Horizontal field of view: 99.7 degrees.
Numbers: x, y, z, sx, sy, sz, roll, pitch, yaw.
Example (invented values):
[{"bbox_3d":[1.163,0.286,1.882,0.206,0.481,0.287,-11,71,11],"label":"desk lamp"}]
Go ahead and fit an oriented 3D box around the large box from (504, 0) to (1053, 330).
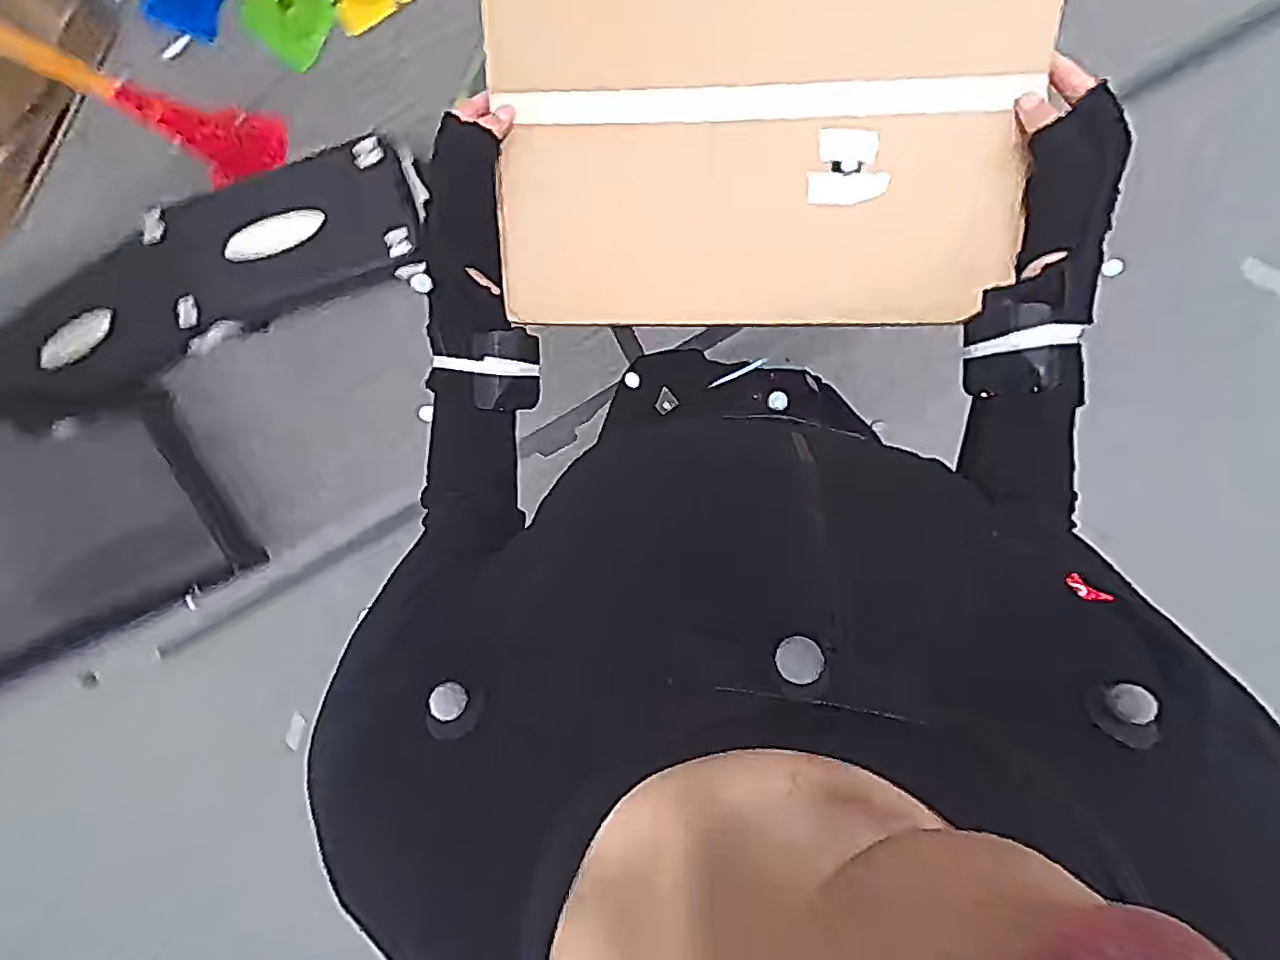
[{"bbox_3d":[0.101,-0.319,0.558,0.408,0.320,0.320,2,107,2],"label":"large box"}]
